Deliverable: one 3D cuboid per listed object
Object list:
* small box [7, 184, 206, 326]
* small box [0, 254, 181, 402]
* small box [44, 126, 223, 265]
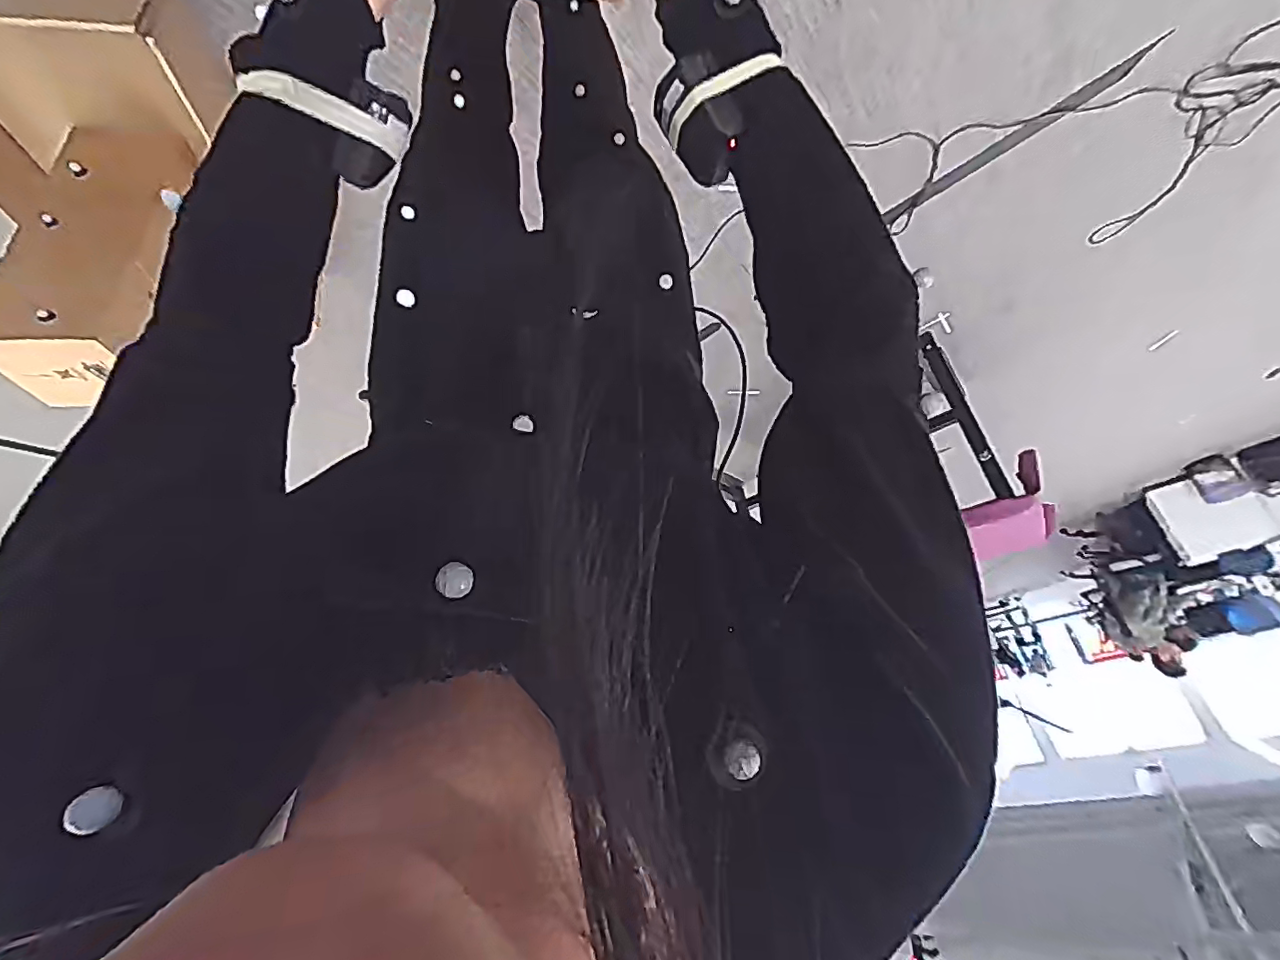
[{"bbox_3d":[-0.911,-0.390,0.947,0.179,0.176,0.168,-5,154,-12],"label":"small box"},{"bbox_3d":[-0.890,-0.244,0.875,0.179,0.176,0.168,-3,154,-10],"label":"small box"},{"bbox_3d":[-0.934,-0.533,1.020,0.179,0.176,0.168,-3,154,-13],"label":"small box"}]
